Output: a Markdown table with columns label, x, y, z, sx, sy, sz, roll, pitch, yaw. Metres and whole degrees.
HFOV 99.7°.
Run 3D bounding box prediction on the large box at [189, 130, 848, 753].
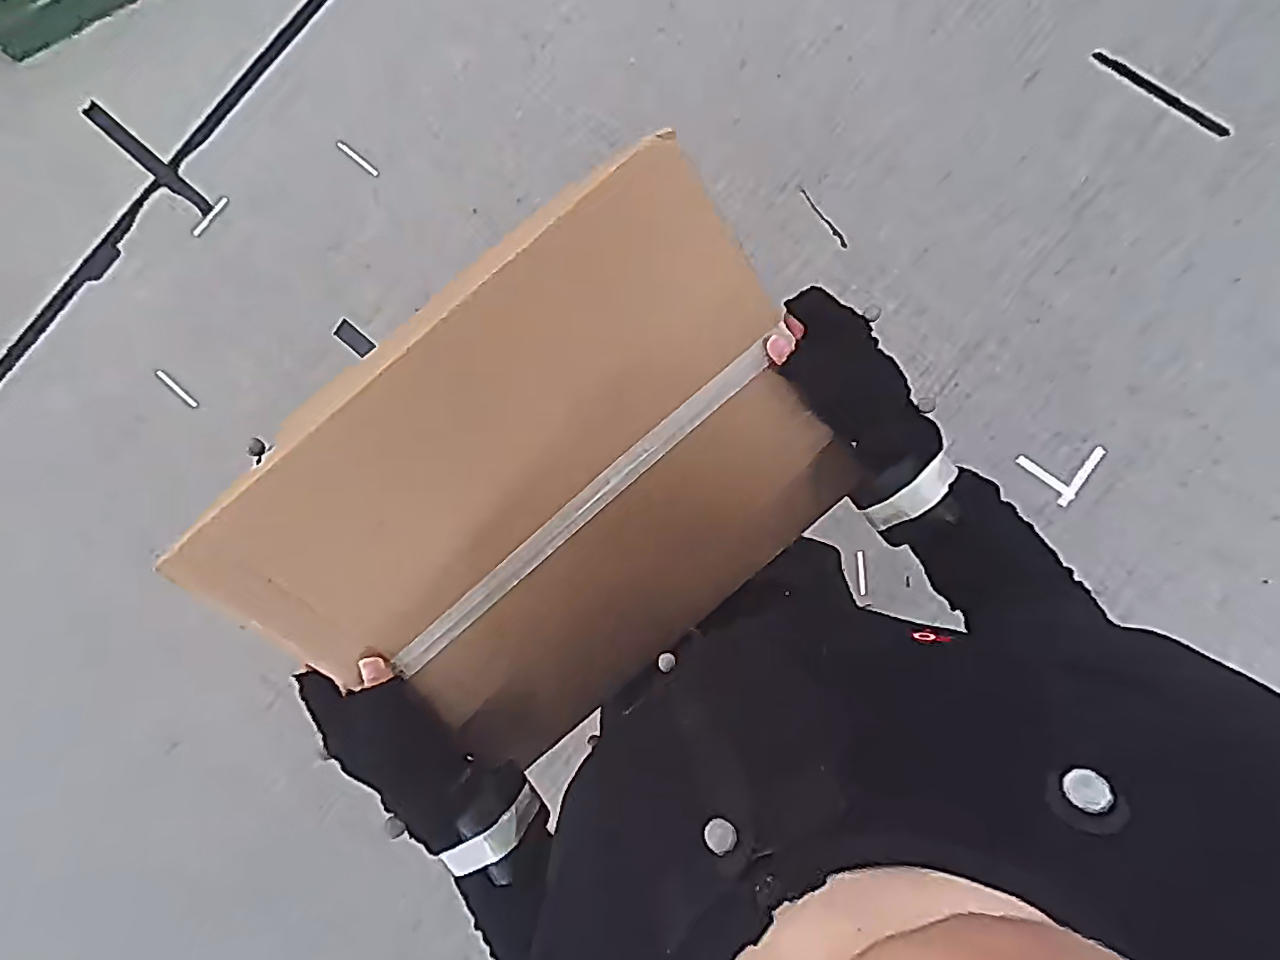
| label | x | y | z | sx | sy | sz | roll | pitch | yaw |
| --- | --- | --- | --- | --- | --- | --- | --- | --- | --- |
| large box | -0.097 | -0.039 | 0.537 | 0.408 | 0.320 | 0.320 | -41 | 119 | 0 |
